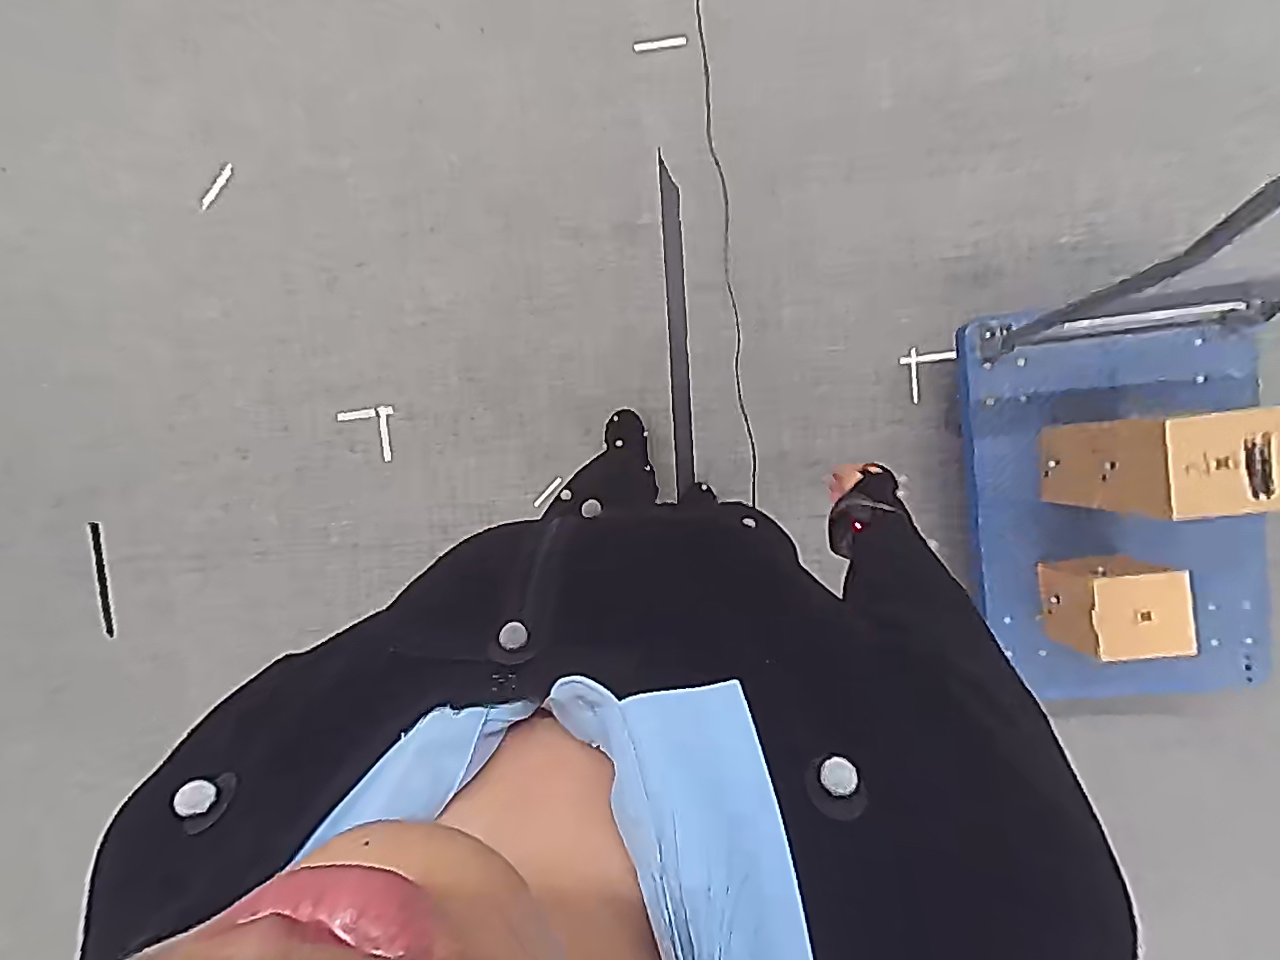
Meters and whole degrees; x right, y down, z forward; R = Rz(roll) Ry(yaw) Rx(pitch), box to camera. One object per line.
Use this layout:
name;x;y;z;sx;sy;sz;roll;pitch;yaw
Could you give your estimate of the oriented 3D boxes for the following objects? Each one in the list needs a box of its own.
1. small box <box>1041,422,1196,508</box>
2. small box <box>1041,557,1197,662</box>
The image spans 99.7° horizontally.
small box;0.972;-0.032;1.111;0.179;0.176;0.168;-2;92;6
small box;0.987;0.262;1.126;0.179;0.176;0.168;-8;92;7
